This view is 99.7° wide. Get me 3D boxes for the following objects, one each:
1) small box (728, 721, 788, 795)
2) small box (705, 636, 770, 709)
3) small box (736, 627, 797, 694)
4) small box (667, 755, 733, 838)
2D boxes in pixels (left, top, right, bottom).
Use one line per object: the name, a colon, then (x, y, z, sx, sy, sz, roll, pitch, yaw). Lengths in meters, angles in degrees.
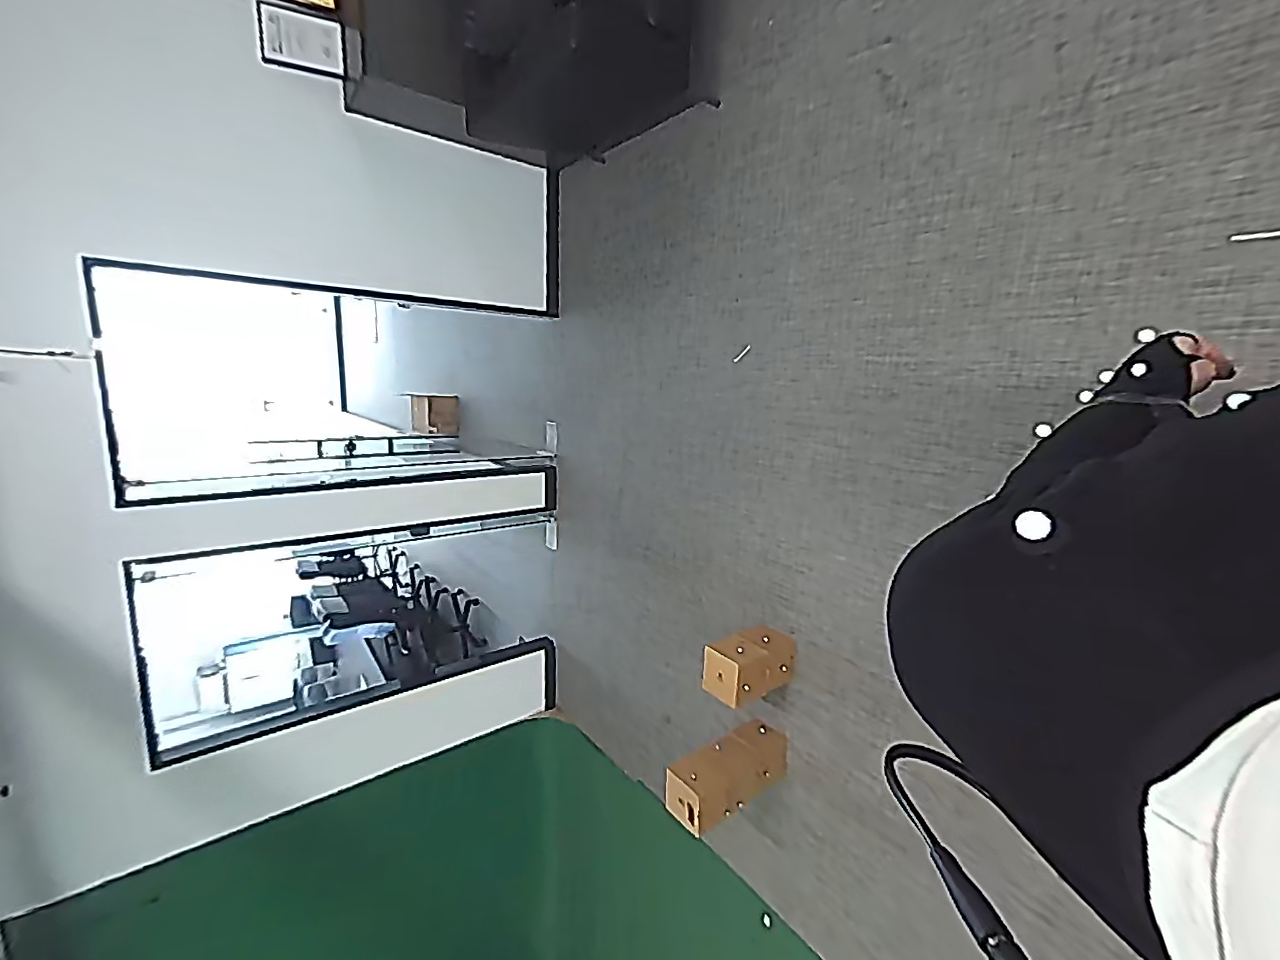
small box: (0.471, 1.099, 2.152, 0.168, 0.176, 0.179, 15, 105, 51)
small box: (0.359, 0.697, 1.981, 0.168, 0.176, 0.179, 15, 107, 51)
small box: (0.484, 0.687, 2.086, 0.179, 0.176, 0.168, 17, 107, 50)
small box: (0.218, 1.126, 1.944, 0.179, 0.176, 0.168, 13, 104, 52)
